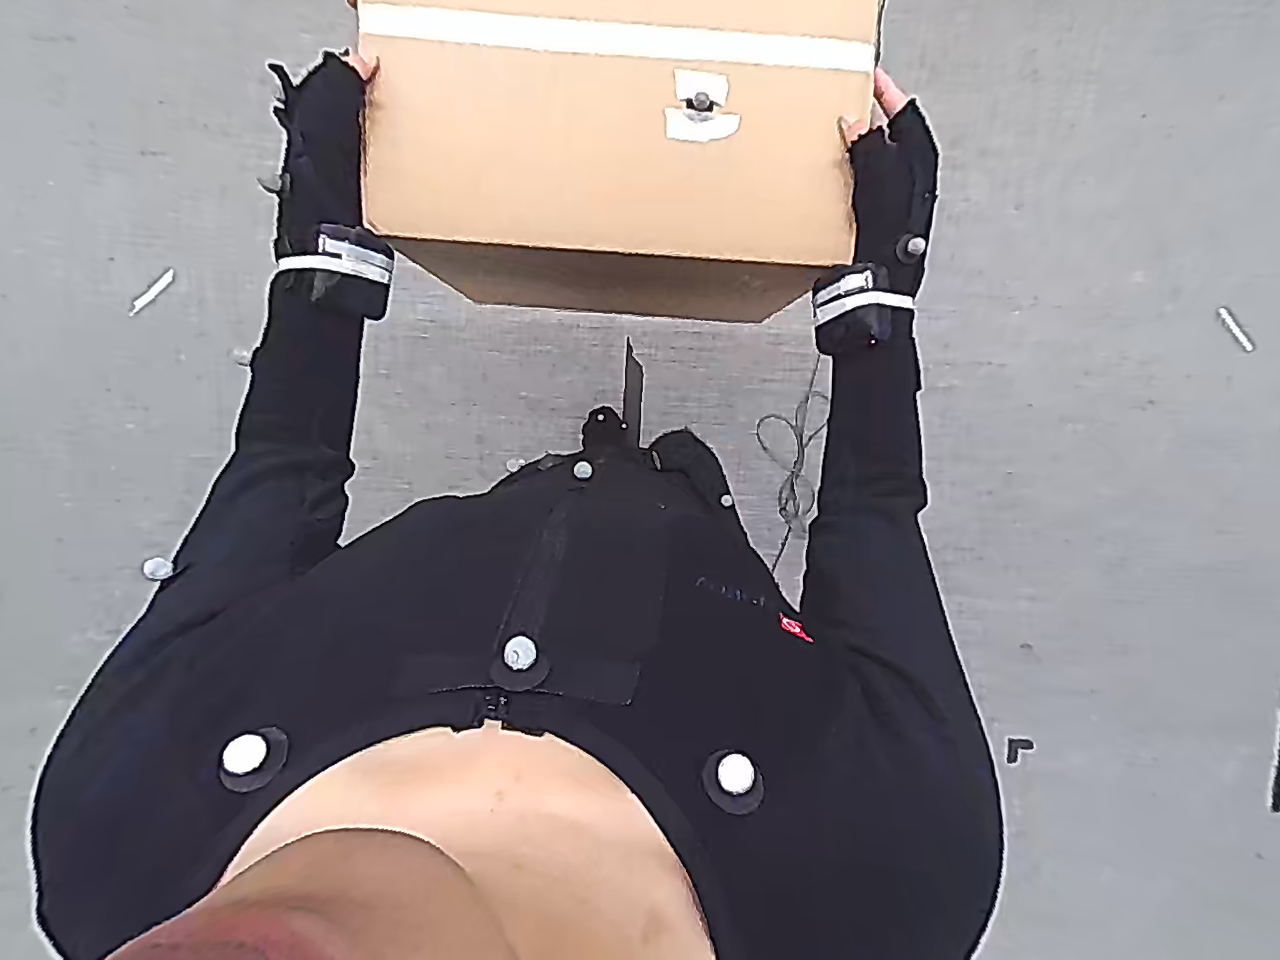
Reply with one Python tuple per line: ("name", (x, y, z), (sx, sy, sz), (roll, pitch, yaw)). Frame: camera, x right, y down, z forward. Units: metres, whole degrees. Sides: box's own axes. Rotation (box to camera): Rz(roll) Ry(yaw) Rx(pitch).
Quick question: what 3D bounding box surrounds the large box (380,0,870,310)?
("large box", (-0.018, -0.376, 0.590), (0.408, 0.320, 0.320), (3, 99, -3))
